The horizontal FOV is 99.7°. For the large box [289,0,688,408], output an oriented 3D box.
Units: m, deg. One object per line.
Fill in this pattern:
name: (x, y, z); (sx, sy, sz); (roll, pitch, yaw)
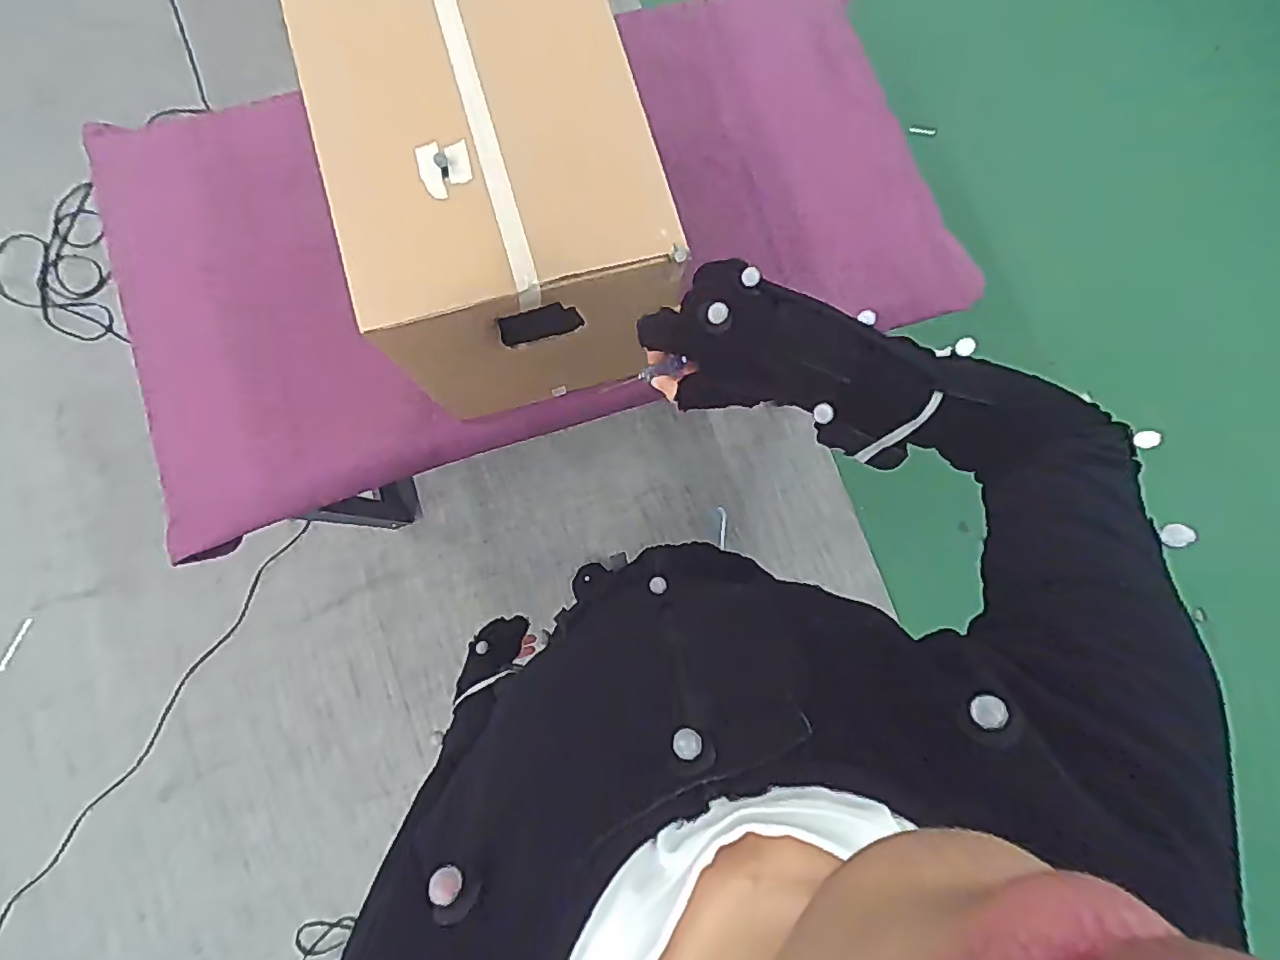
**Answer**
large box: (-0.166, -0.350, 0.681); (0.320, 0.320, 0.408); (-16, 84, -5)
